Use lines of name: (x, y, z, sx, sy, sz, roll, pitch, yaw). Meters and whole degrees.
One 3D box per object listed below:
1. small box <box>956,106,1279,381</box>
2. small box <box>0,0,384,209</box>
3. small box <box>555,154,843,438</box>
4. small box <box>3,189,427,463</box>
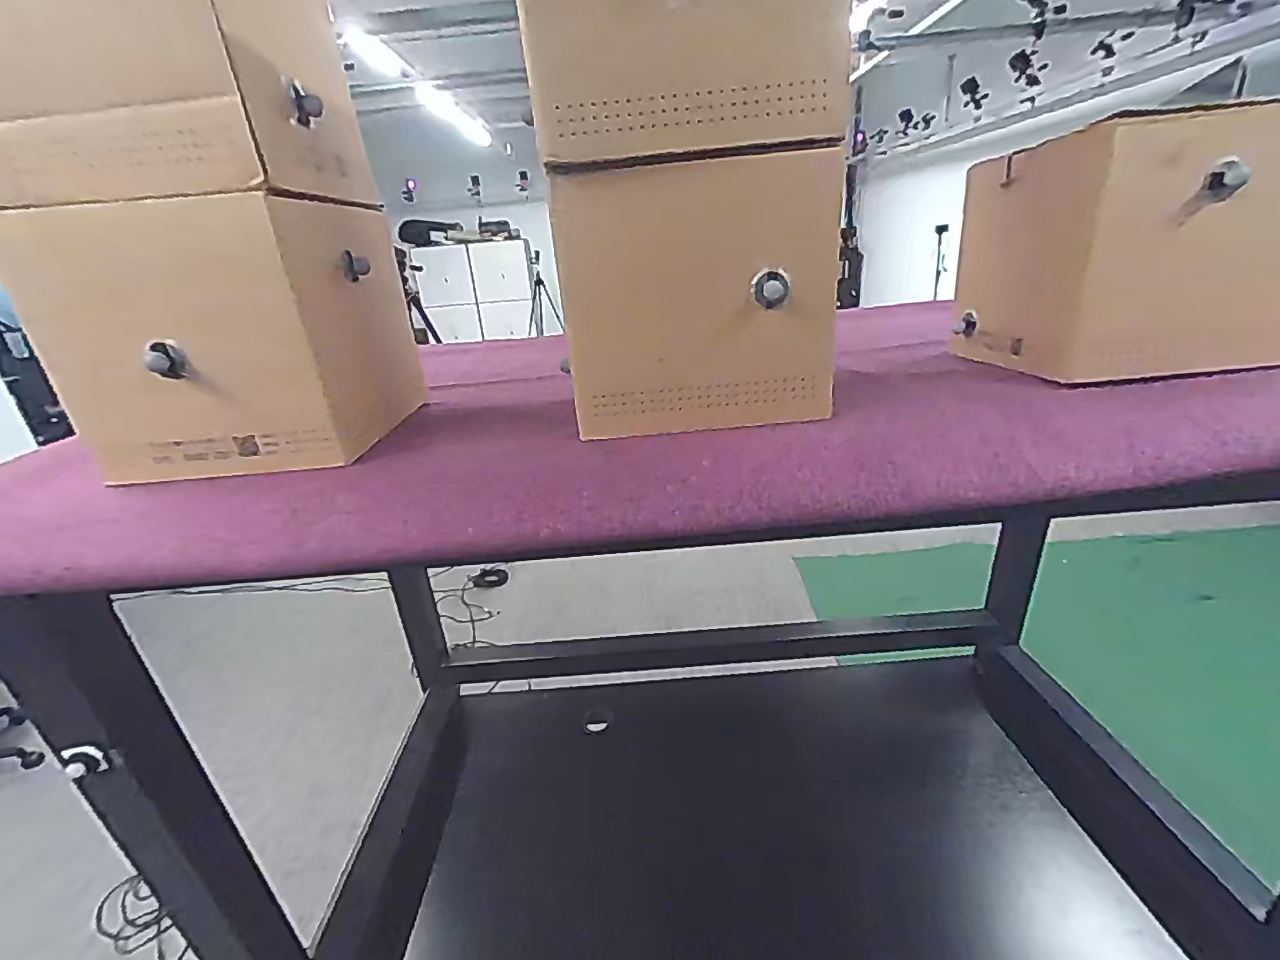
small box: (0.385, -0.179, 0.442, 0.179, 0.176, 0.168, -4, 20, 2)
small box: (-0.298, -0.264, 0.352, 0.179, 0.176, 0.168, -5, 24, -3)
small box: (0.039, -0.140, 0.423, 0.179, 0.176, 0.168, -6, 22, 0)
small box: (-0.282, -0.115, 0.416, 0.168, 0.176, 0.179, -4, 23, -1)
